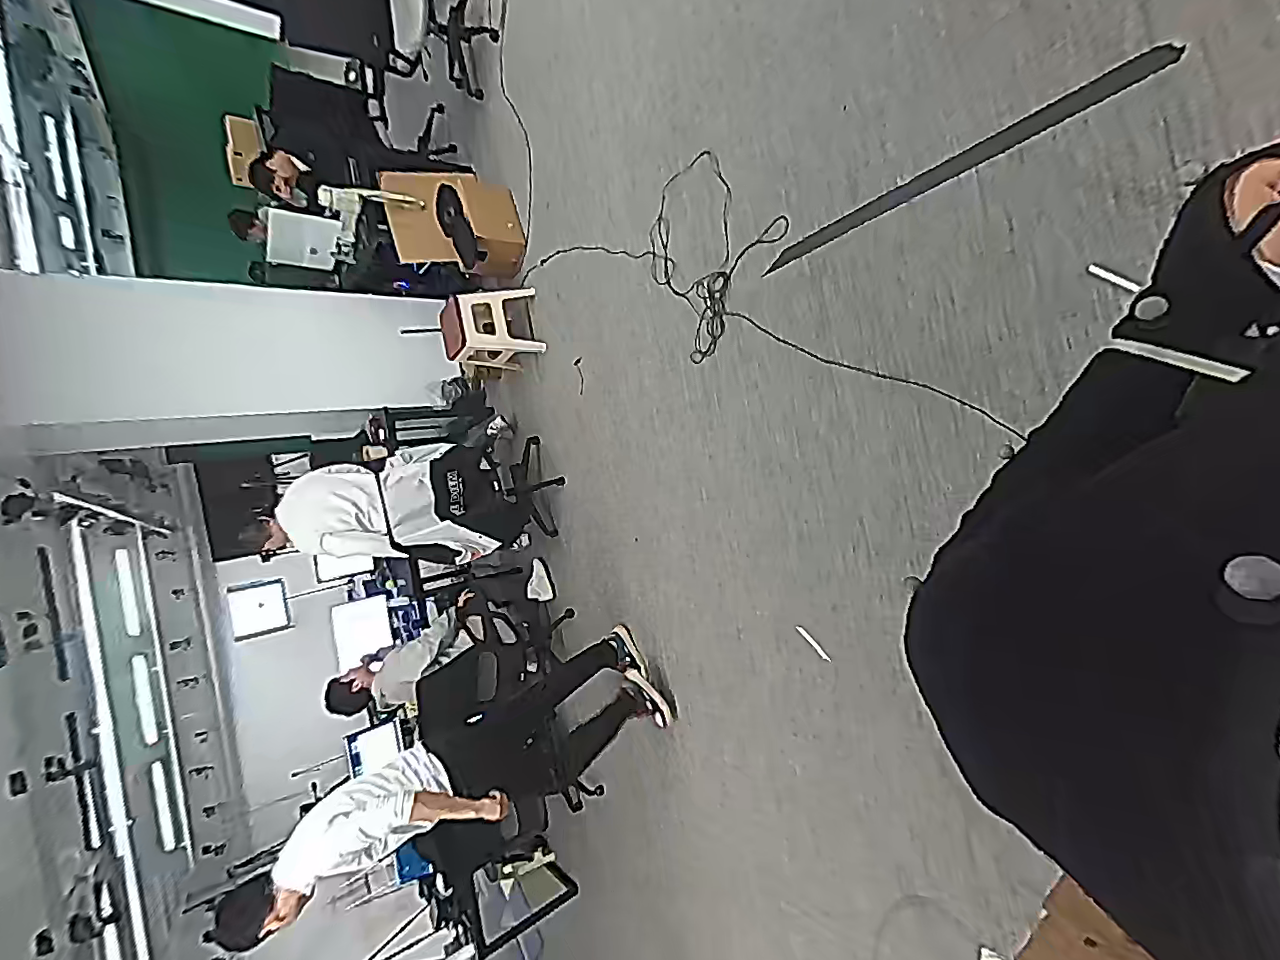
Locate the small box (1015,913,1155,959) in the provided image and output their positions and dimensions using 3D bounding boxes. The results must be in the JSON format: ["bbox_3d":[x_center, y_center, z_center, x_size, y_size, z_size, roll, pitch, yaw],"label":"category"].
[{"bbox_3d":[0.626,0.749,0.721,0.168,0.176,0.179,-9,90,57],"label":"small box"}]

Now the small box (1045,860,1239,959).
[{"bbox_3d":[0.758,0.719,0.814,0.179,0.176,0.168,-14,86,56],"label":"small box"}]
